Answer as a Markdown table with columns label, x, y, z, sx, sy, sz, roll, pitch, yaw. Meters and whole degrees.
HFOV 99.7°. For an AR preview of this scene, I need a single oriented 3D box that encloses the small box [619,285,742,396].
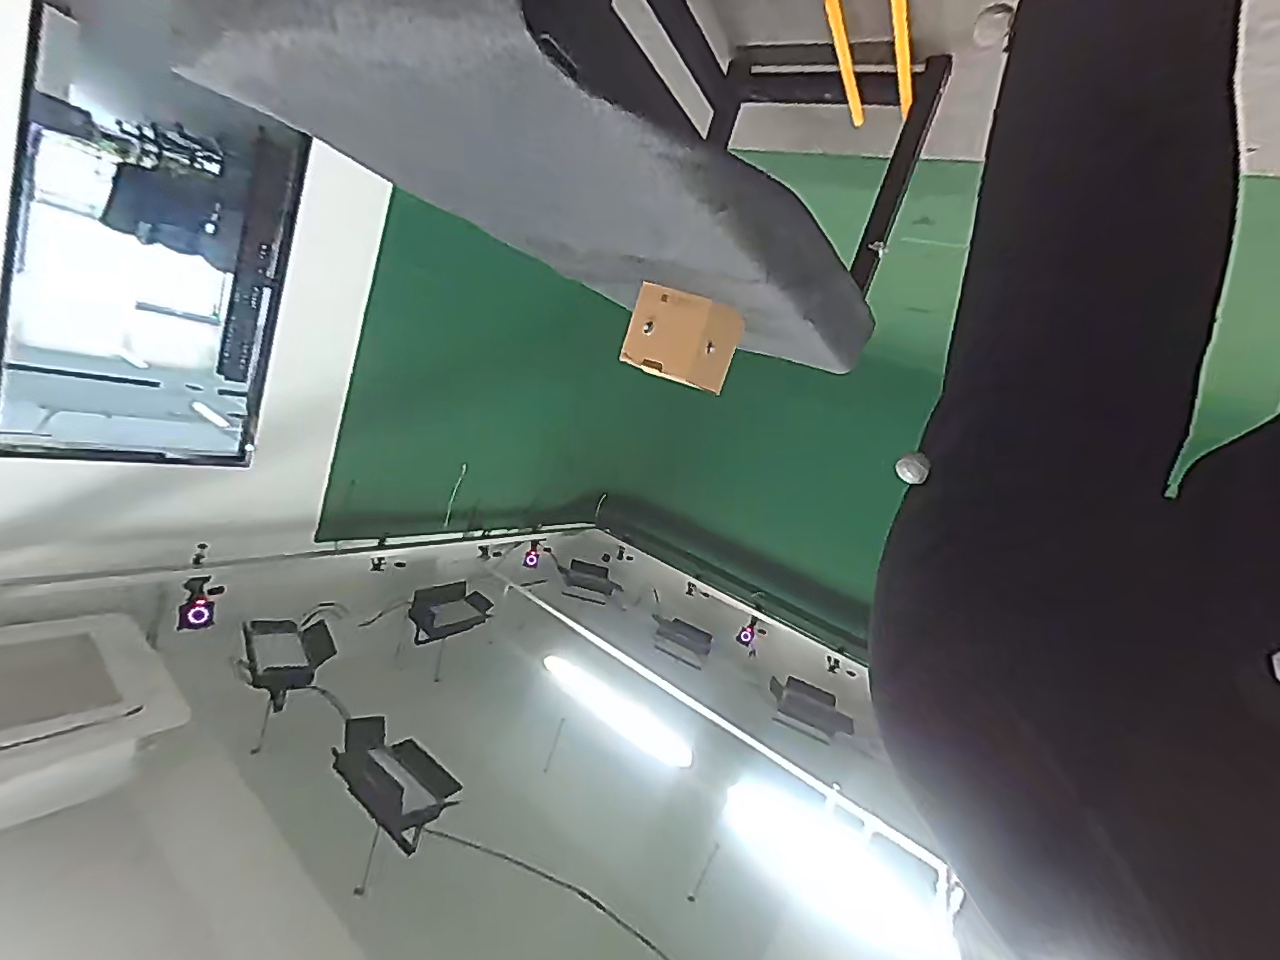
| label | x | y | z | sx | sy | sz | roll | pitch | yaw |
| --- | --- | --- | --- | --- | --- | --- | --- | --- | --- |
| small box | 0.087 | -0.286 | 1.113 | 0.168 | 0.176 | 0.179 | 24 | -169 | 28 |
